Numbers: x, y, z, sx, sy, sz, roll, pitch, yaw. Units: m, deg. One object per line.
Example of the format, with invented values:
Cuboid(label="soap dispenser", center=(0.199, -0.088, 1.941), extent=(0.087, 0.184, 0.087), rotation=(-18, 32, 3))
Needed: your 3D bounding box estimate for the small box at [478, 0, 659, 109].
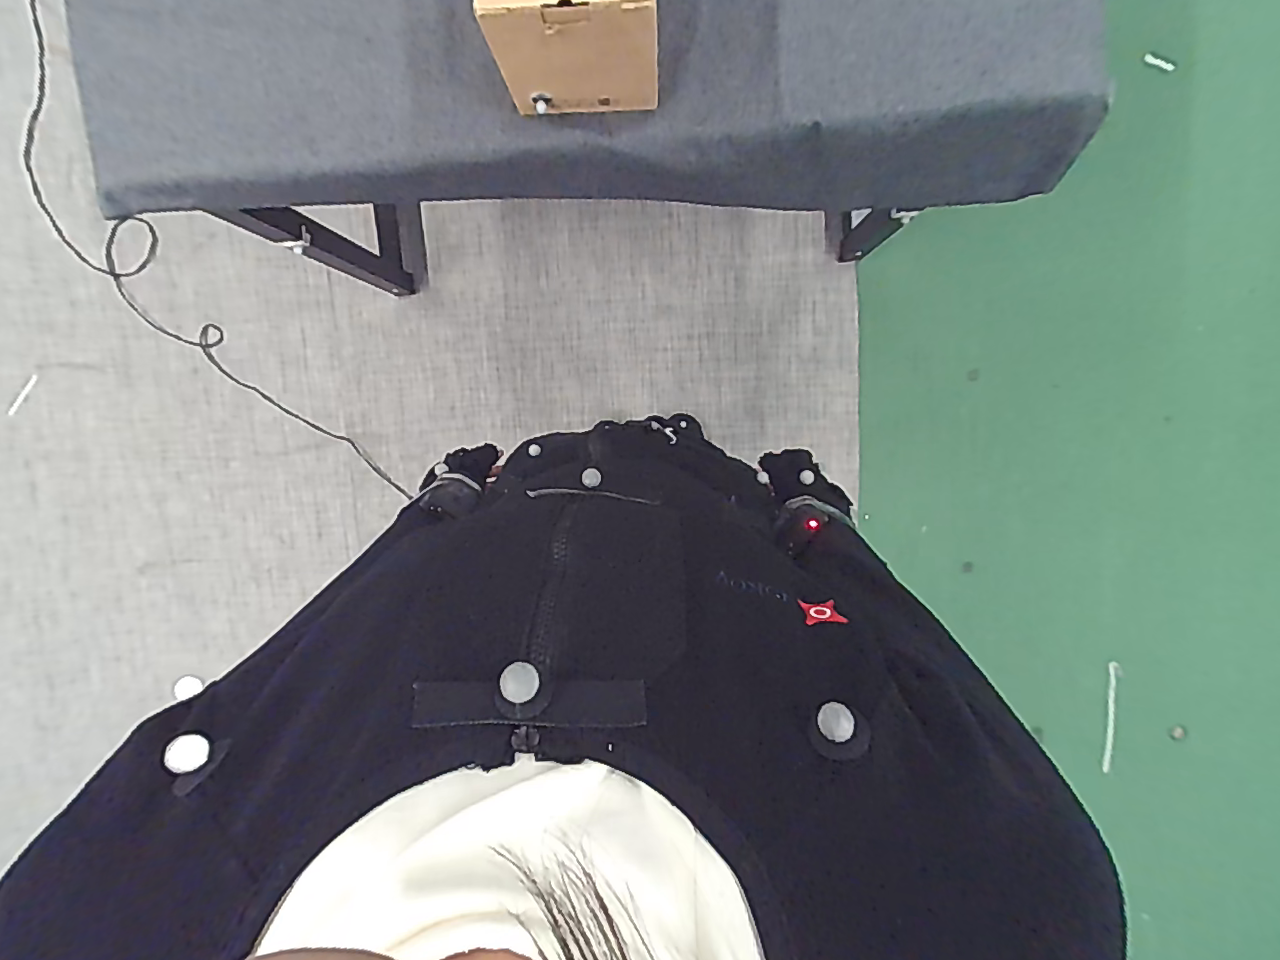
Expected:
Cuboid(label="small box", center=(-0.063, -0.518, 0.561), extent=(0.168, 0.176, 0.179), rotation=(0, 95, 1))
